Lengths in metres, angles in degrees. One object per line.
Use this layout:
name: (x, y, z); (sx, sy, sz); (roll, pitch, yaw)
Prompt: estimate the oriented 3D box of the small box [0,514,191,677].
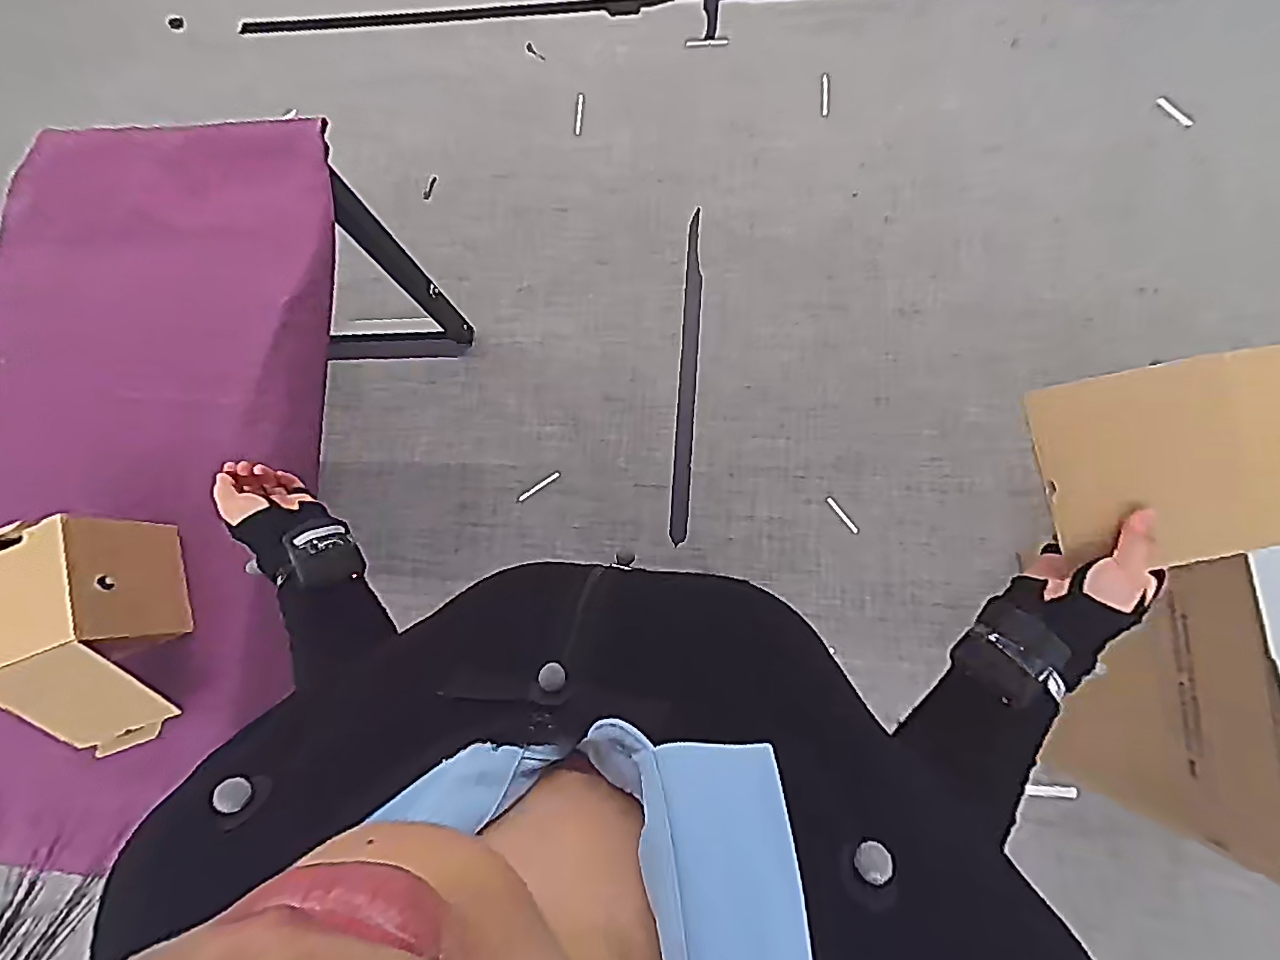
small box: (-0.799, 0.165, 0.780); (0.168, 0.176, 0.179); (-20, 77, 1)
